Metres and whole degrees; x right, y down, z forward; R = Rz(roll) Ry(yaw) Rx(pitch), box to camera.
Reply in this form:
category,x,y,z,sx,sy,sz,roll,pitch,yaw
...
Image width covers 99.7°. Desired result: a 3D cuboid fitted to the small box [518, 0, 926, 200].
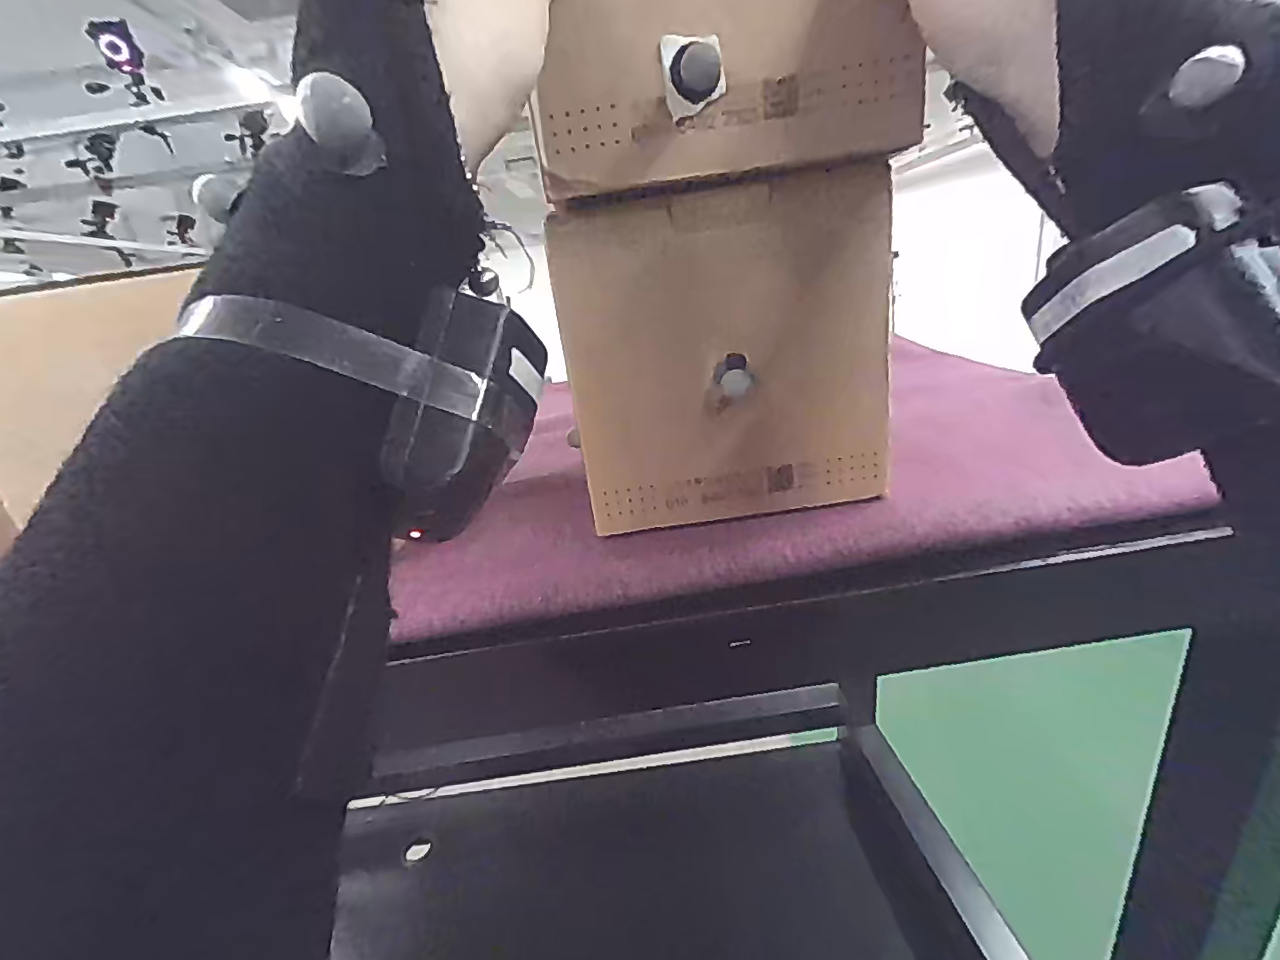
category,x,y,z,sx,sy,sz,roll,pitch,yaw
small box,0.028,-0.239,0.286,0.168,0.176,0.179,-9,19,2

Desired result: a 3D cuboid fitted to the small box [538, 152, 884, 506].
category,x,y,z,sx,sy,sz,roll,pitch,yaw
small box,0.042,-0.089,0.351,0.168,0.176,0.179,-8,19,1
